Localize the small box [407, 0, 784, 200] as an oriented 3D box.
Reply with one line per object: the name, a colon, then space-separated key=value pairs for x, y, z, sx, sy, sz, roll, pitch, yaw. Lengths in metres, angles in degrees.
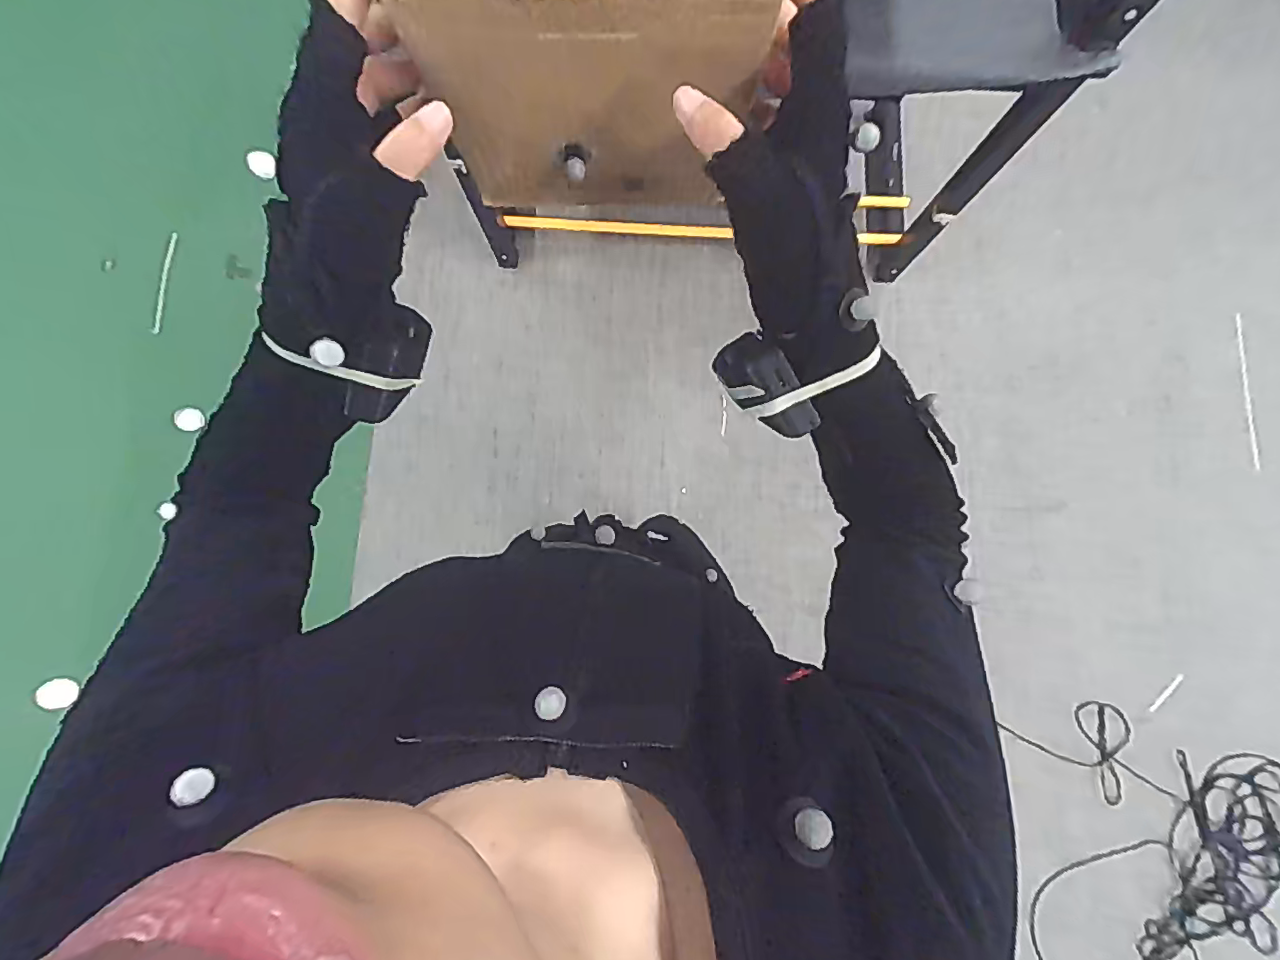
small box: x=-0.025 y=-0.281 z=0.288 sx=0.168 sy=0.176 sz=0.179 roll=-1 pitch=90 yaw=-1
